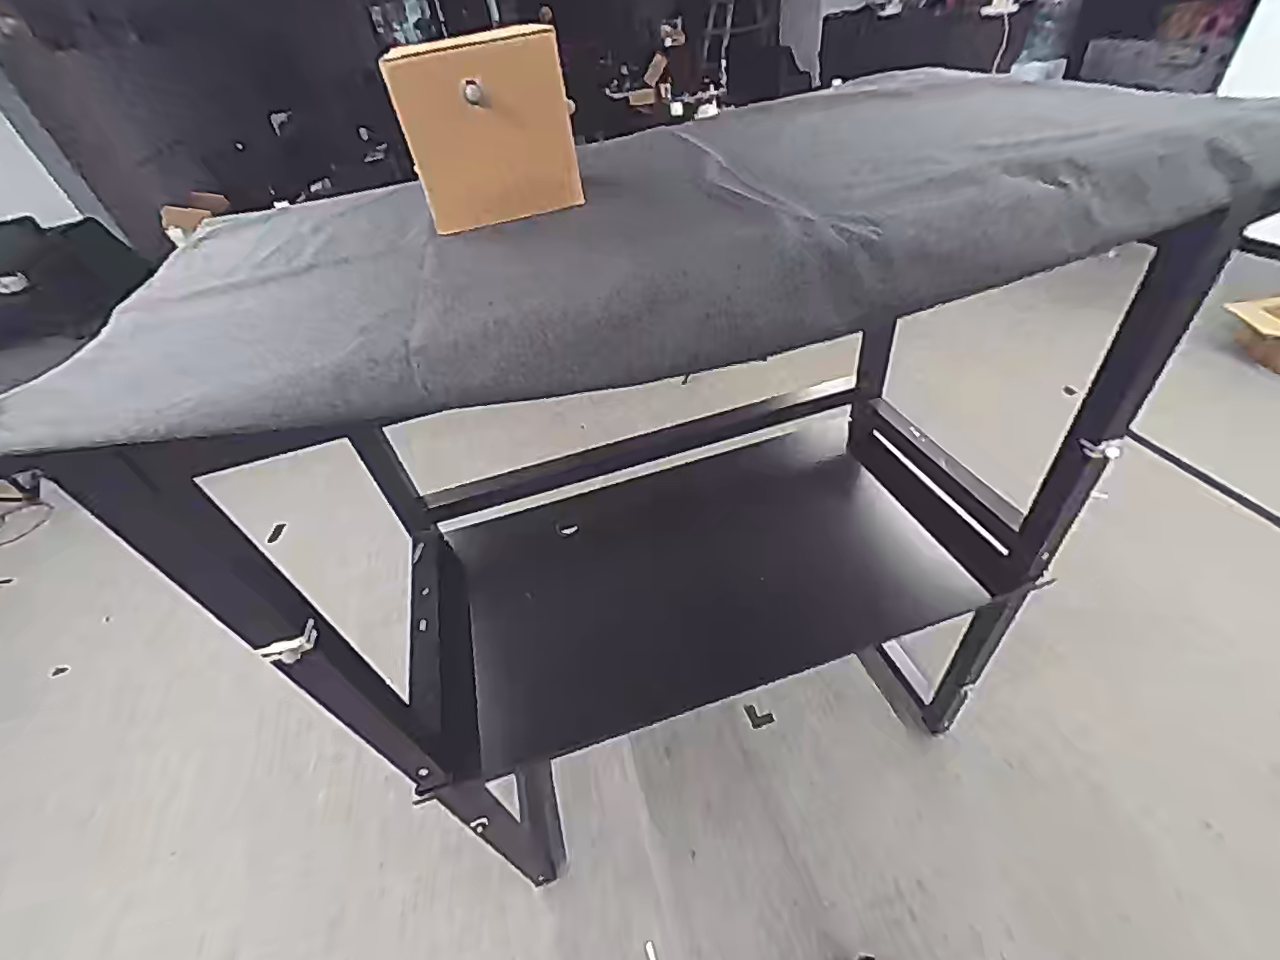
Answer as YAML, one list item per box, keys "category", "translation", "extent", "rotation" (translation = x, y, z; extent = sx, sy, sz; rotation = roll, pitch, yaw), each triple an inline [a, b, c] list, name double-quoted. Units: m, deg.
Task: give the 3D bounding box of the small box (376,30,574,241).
- category: "small box"
  translation: [-0.183, -0.408, 0.641]
  extent: [0.179, 0.176, 0.168]
  rotation: [-16, 43, -6]
